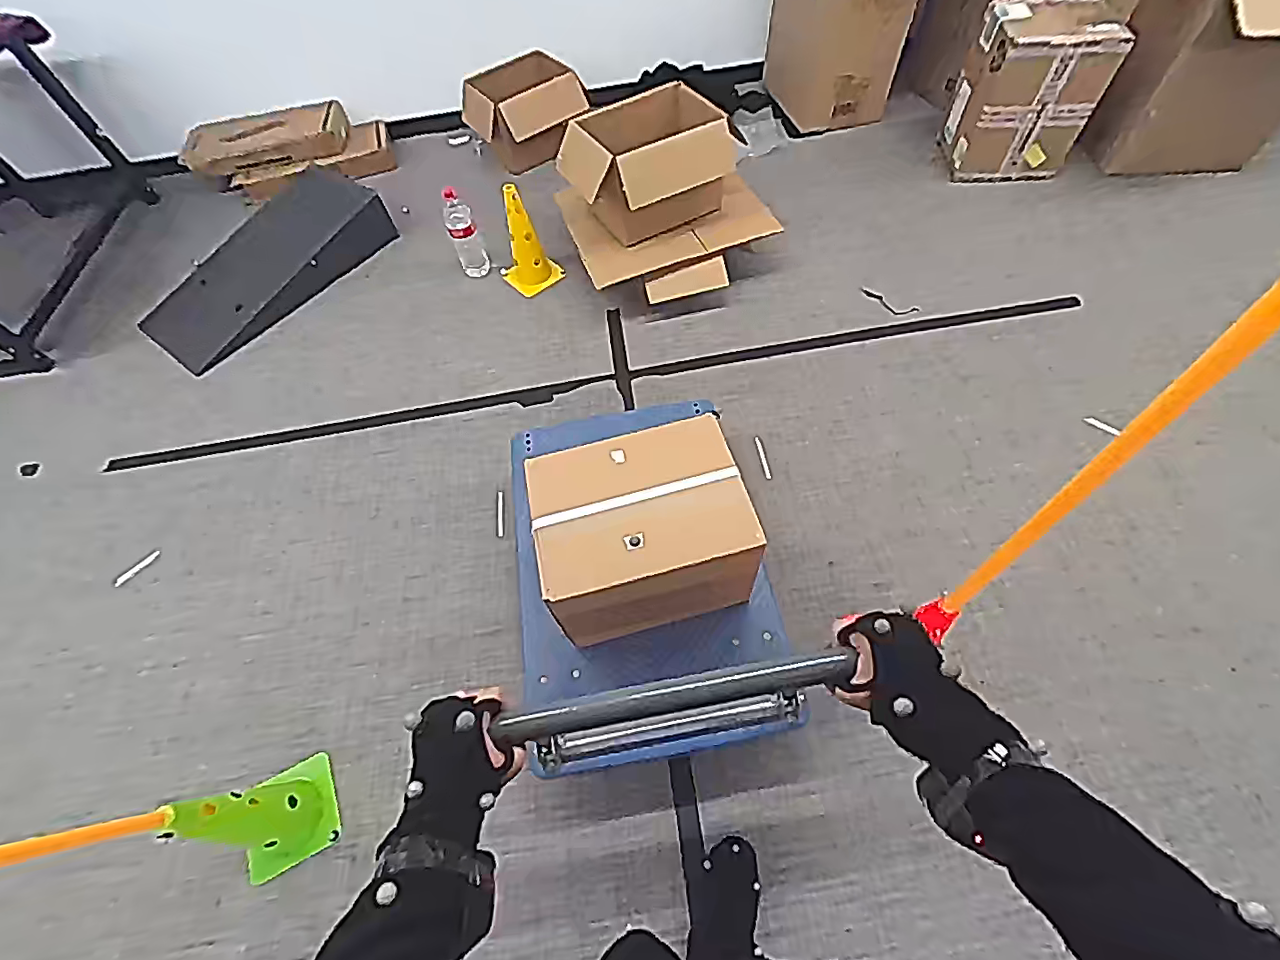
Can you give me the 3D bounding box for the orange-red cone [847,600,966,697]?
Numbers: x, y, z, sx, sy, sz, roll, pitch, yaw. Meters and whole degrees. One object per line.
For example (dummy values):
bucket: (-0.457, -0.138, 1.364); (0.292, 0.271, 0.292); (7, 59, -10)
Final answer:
orange-red cone: (0.597, 0.326, 1.146); (0.199, 0.360, 0.198); (-3, 59, 2)
